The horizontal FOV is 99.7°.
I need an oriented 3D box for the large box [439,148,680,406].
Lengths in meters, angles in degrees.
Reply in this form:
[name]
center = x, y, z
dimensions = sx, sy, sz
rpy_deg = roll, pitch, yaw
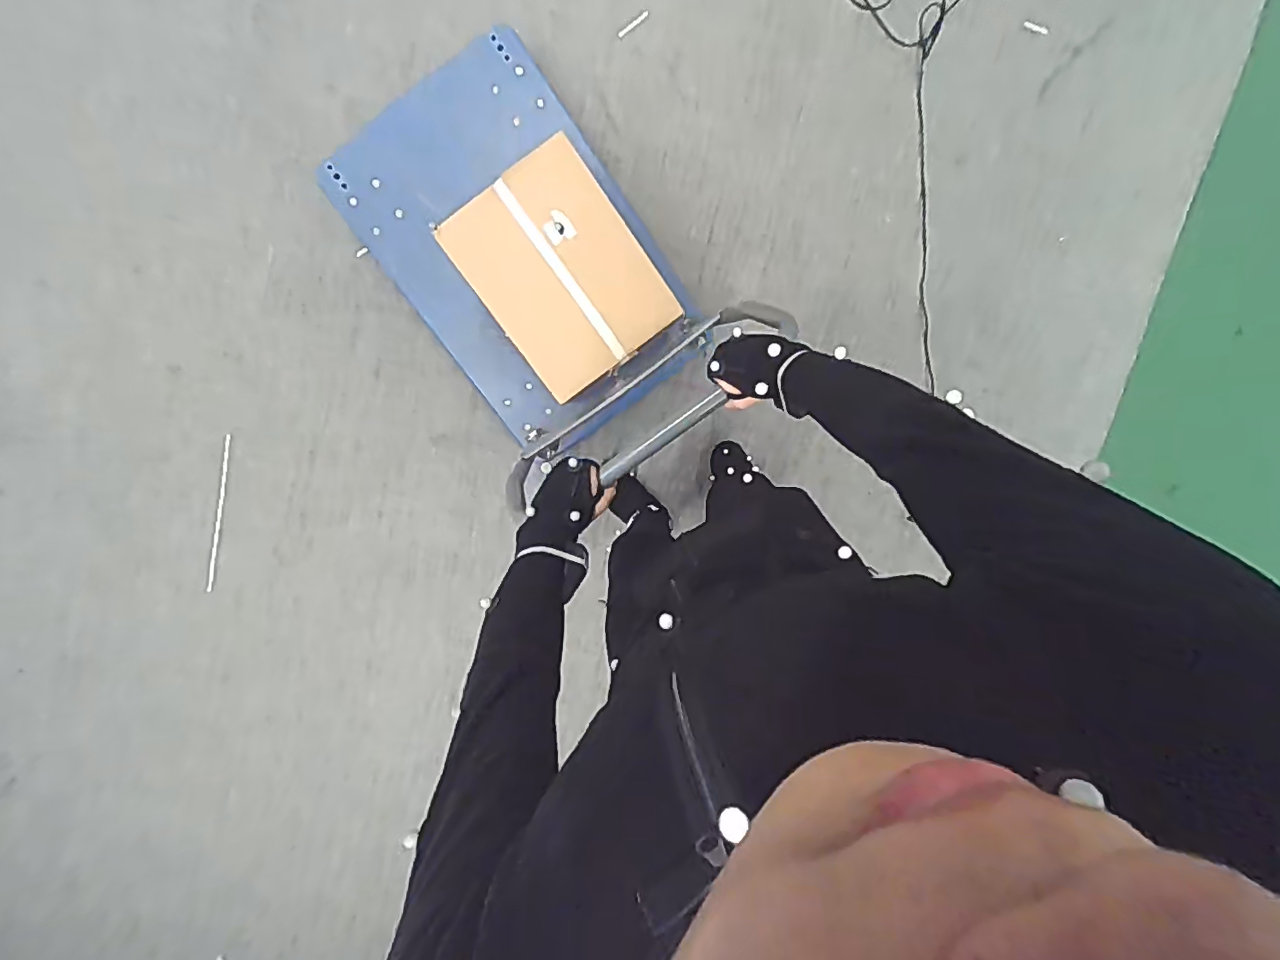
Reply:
[large box]
center = -0.161, -0.418, 1.219
dimensions = 0.320, 0.320, 0.408
rpy_deg = -36, 100, 2
